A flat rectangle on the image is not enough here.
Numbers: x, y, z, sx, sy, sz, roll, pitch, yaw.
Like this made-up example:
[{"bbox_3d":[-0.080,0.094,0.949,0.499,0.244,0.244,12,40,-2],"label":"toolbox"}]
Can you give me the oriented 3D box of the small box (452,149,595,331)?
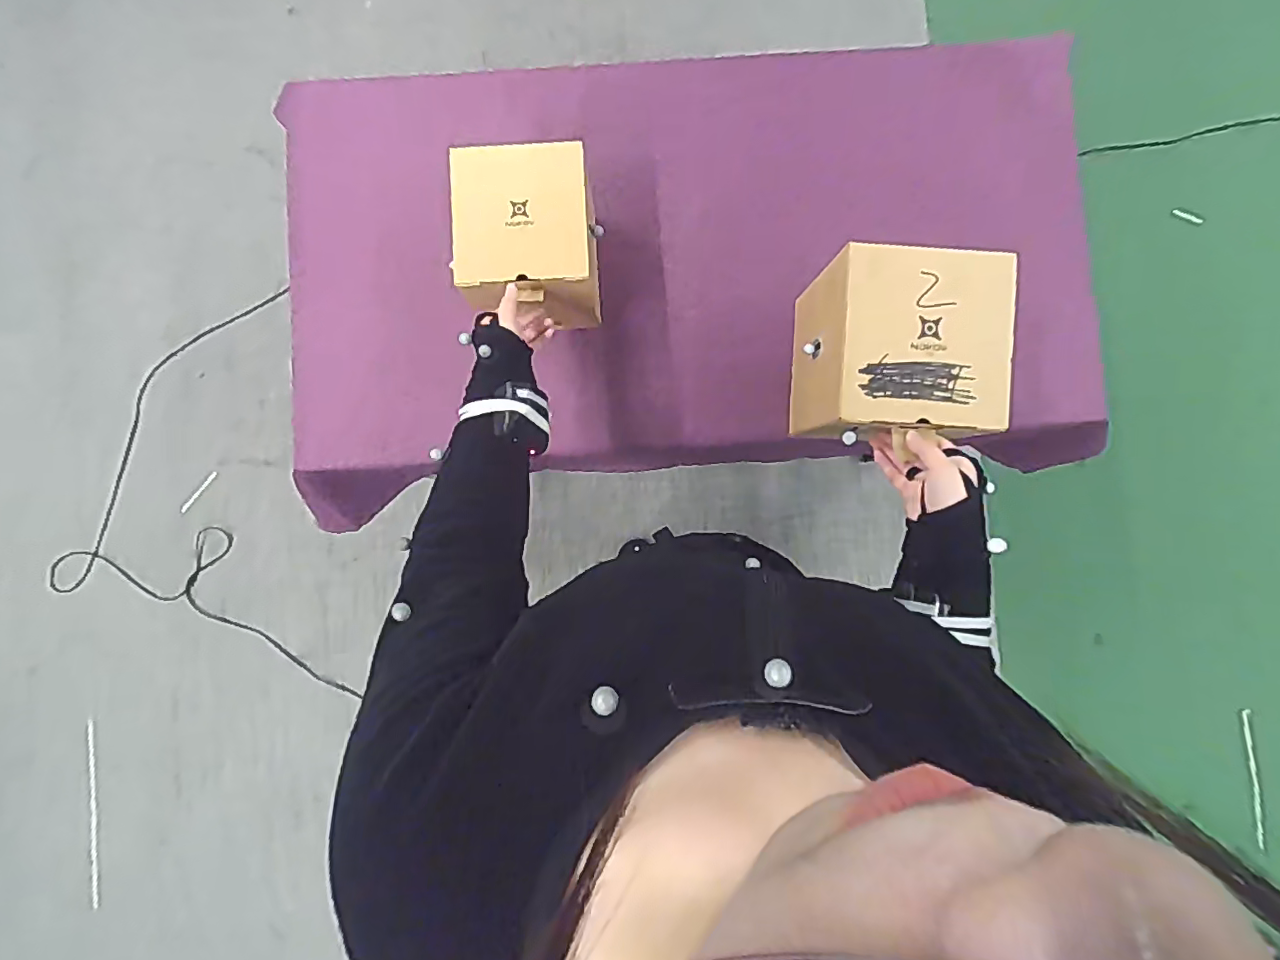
[{"bbox_3d":[-0.153,-0.322,0.751,0.168,0.176,0.179,-3,86,-1],"label":"small box"}]
